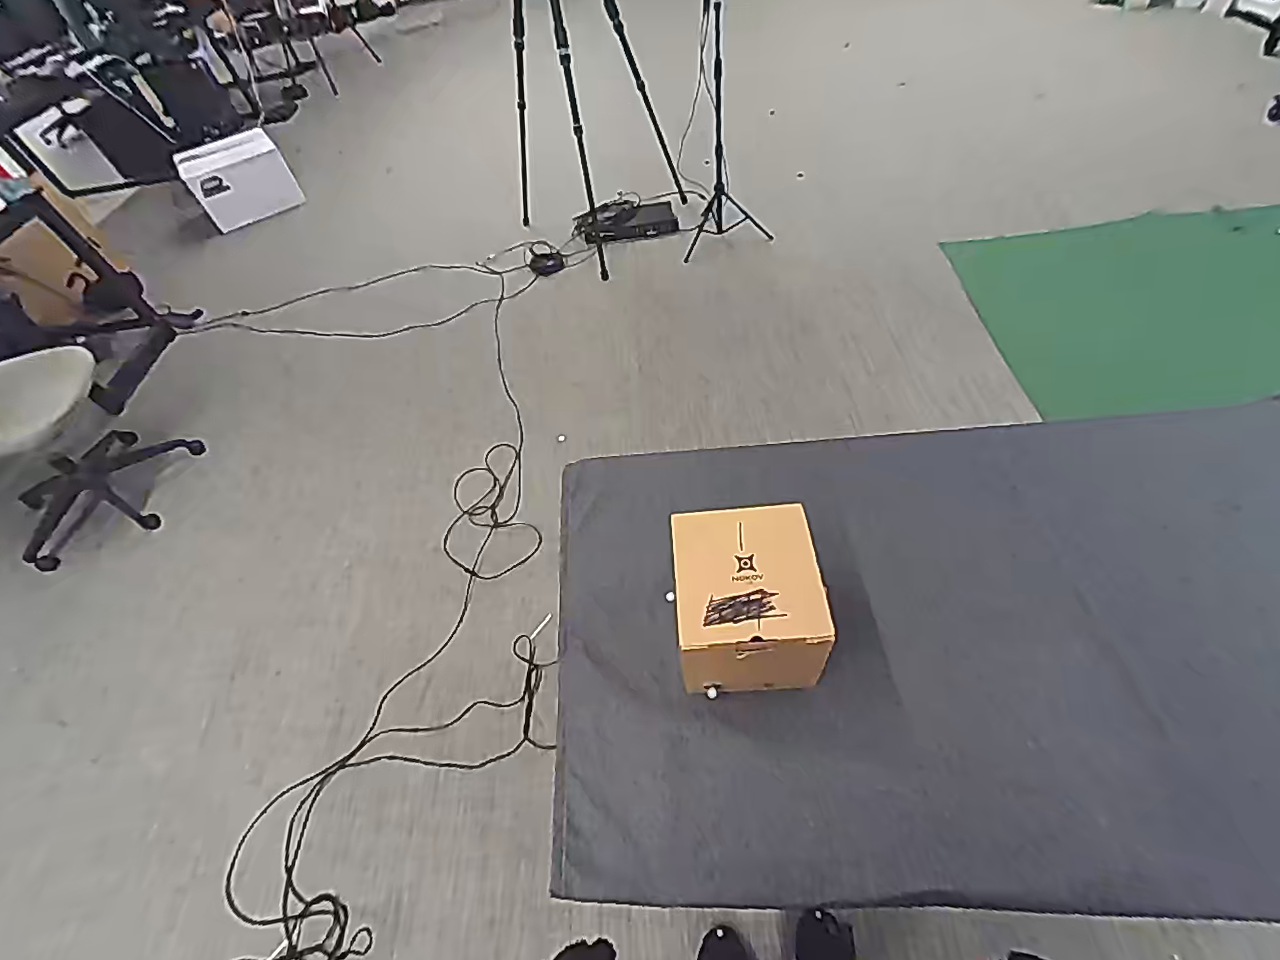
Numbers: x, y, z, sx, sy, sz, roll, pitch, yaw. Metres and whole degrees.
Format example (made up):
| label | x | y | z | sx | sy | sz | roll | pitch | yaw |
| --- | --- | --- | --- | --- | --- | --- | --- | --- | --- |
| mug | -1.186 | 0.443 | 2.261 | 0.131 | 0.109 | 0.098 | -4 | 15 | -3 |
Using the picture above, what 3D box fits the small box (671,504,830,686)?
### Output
| label | x | y | z | sx | sy | sz | roll | pitch | yaw |
| --- | --- | --- | --- | --- | --- | --- | --- | --- | --- |
| small box | 0.130 | 0.153 | 0.687 | 0.168 | 0.176 | 0.179 | -5 | 52 | 5 |
